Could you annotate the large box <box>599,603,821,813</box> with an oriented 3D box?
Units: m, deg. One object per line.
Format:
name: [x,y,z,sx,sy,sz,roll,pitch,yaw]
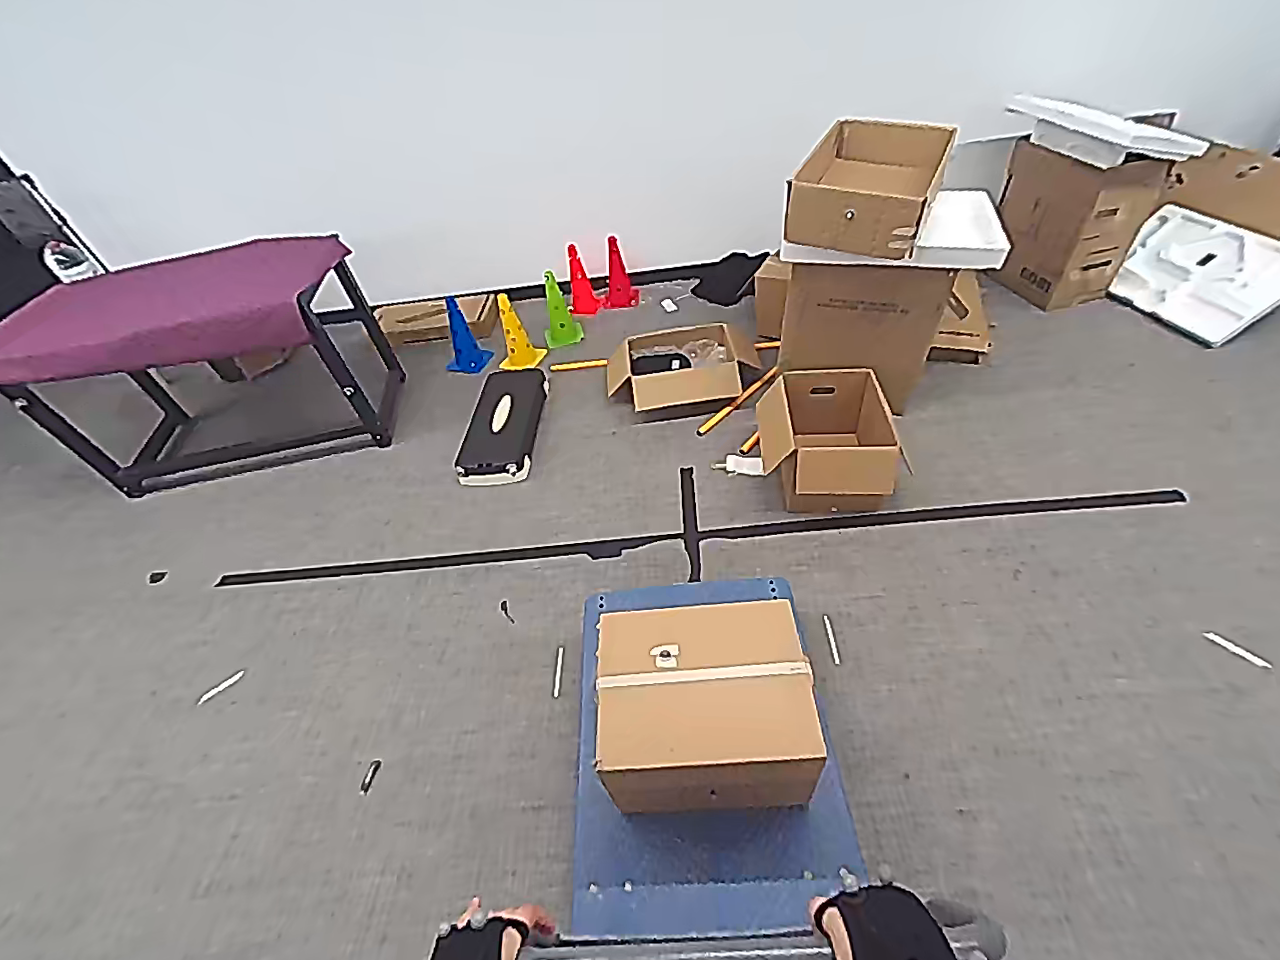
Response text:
large box: [0.137,0.497,1.166,0.408,0.320,0.320,-7,45,4]
